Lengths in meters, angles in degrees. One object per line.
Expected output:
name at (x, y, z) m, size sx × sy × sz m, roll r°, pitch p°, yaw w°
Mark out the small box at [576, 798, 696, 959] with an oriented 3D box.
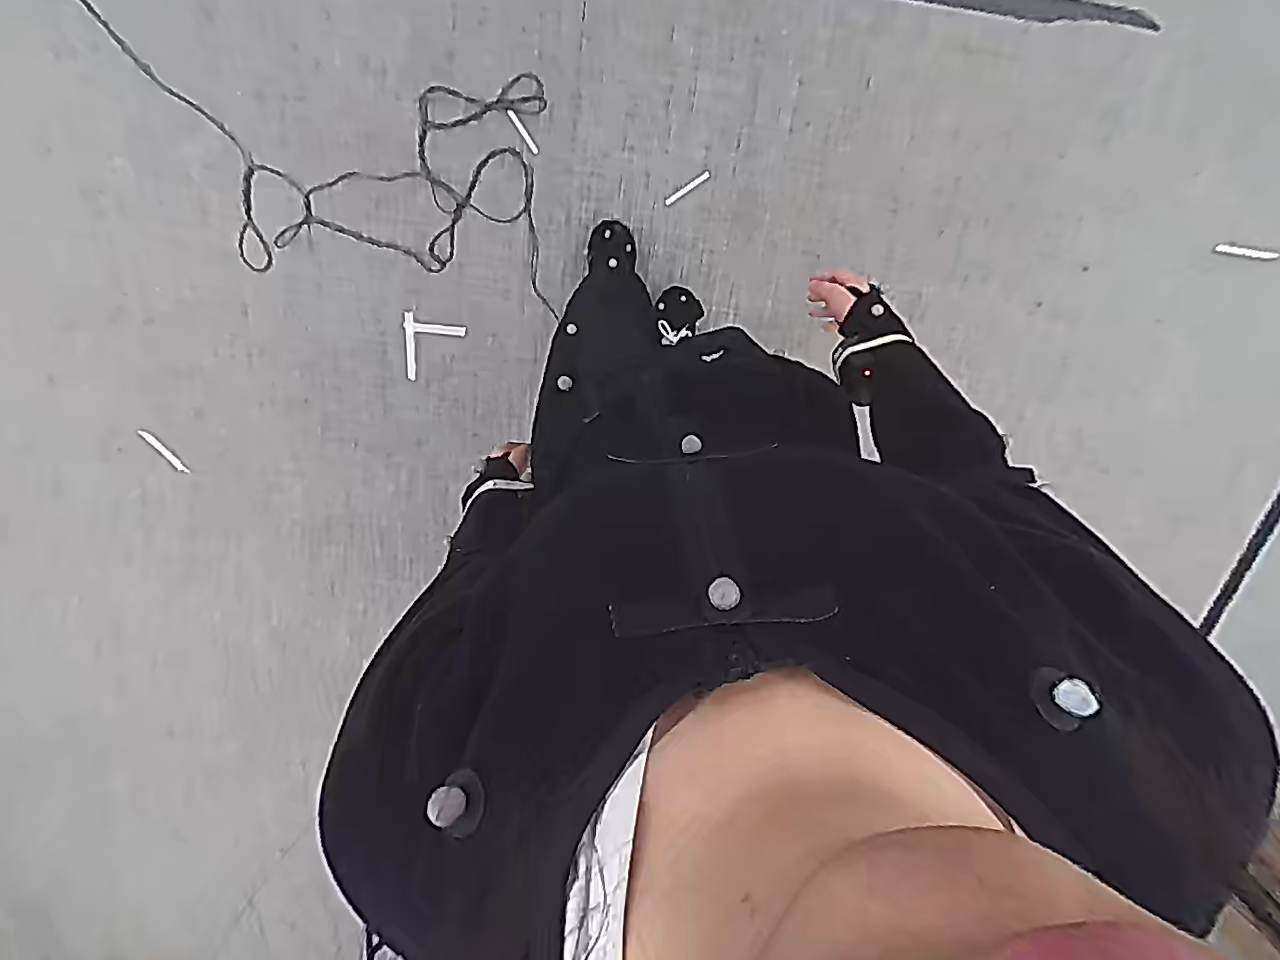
small box at (-0.009, 0.654, 0.879) m, size 0.168 × 0.176 × 0.179 m, roll 6°, pitch 110°, yaw -1°
